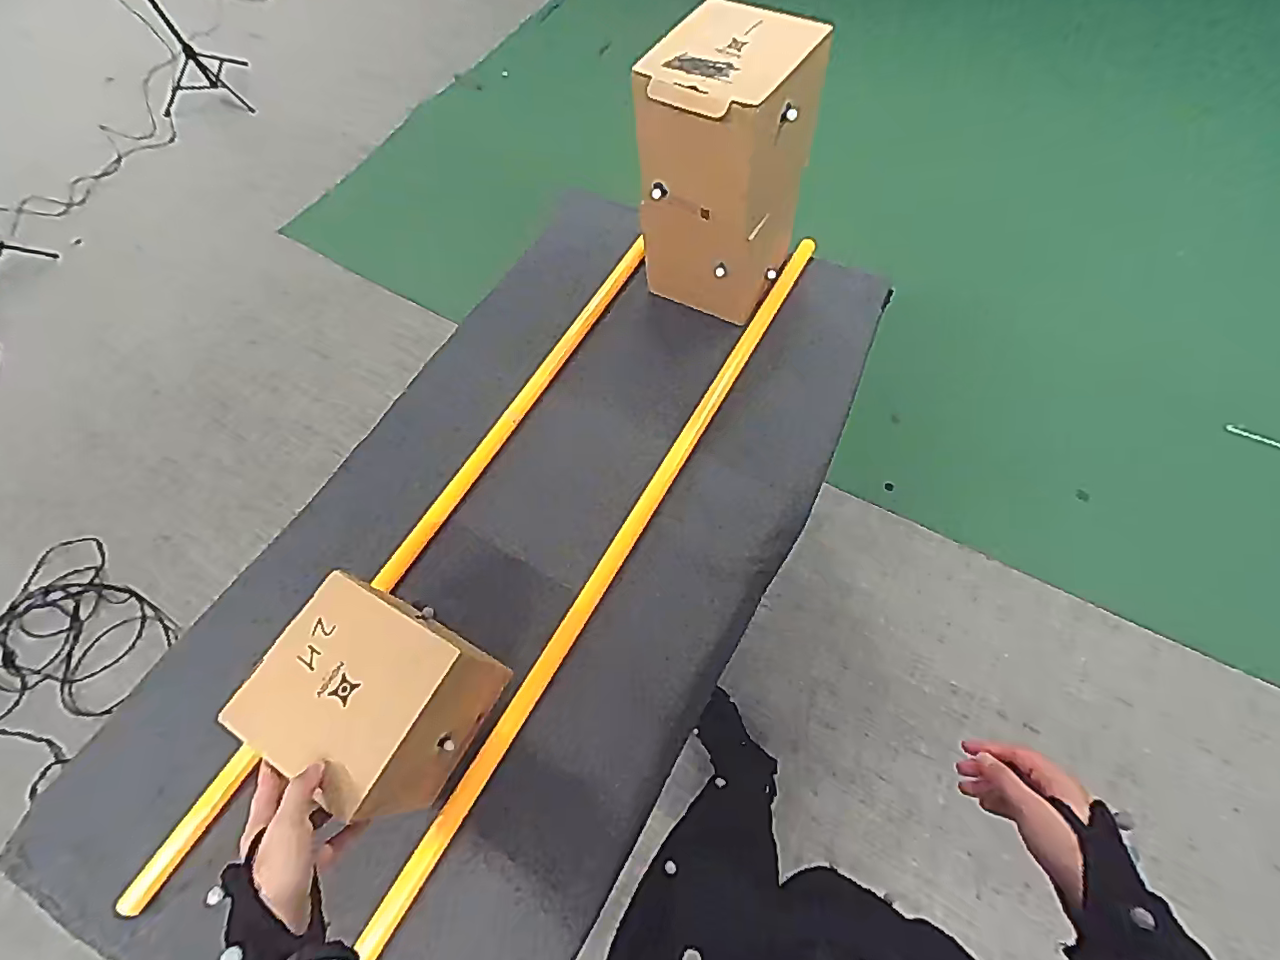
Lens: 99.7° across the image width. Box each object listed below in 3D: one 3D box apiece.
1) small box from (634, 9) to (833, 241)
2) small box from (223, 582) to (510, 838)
[{"bbox_3d":[0.115,-0.441,0.685,0.168,0.176,0.179,31,70,19],"label":"small box"},{"bbox_3d":[-0.268,0.237,0.576,0.179,0.176,0.168,25,68,17],"label":"small box"}]
